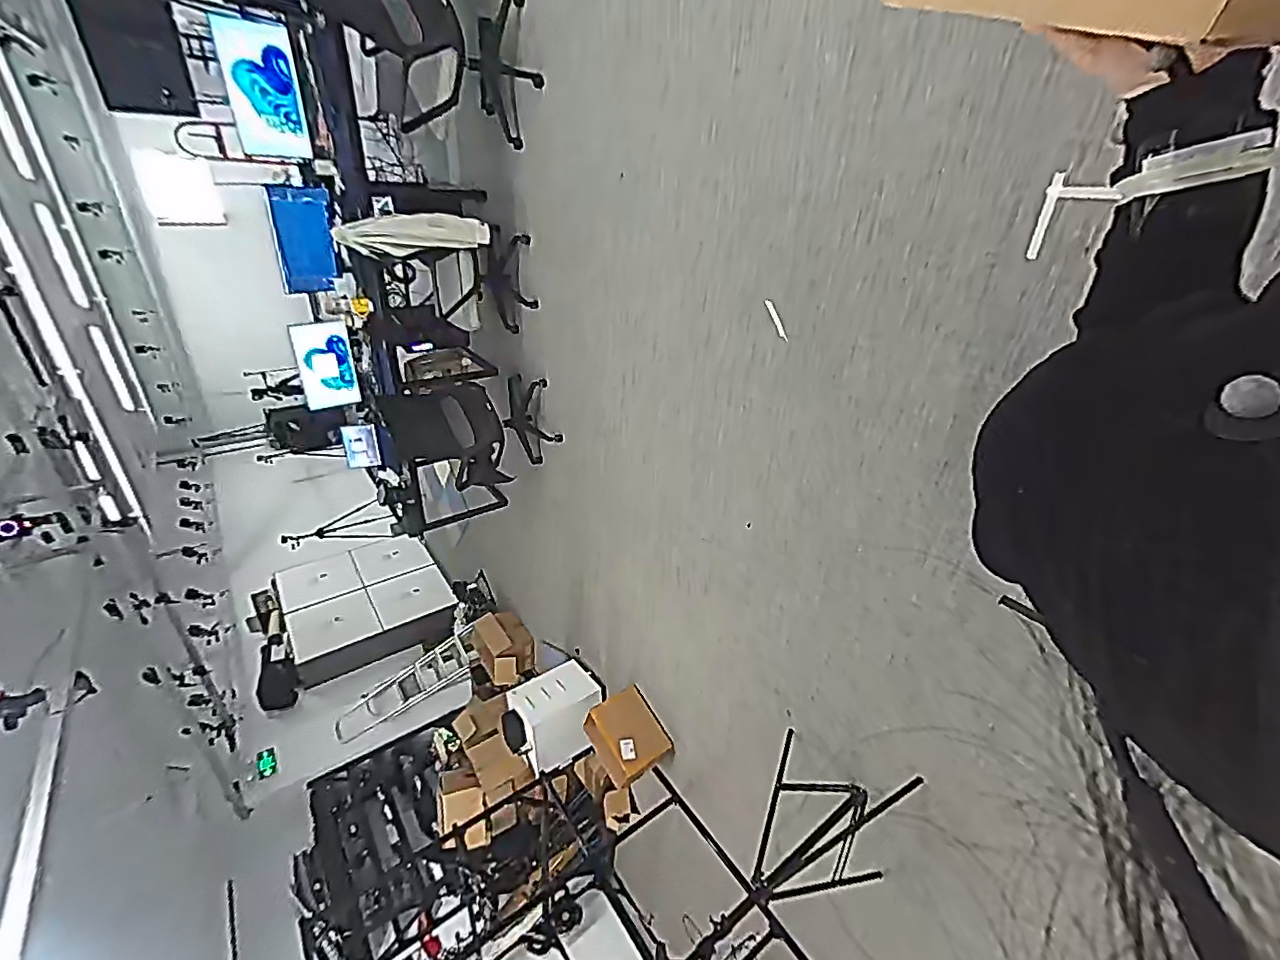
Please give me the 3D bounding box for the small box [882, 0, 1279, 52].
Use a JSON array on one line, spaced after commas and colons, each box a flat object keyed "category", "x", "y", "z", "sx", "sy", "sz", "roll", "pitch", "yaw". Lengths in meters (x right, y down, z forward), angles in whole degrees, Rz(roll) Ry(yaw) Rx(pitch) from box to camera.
[{"category": "small box", "x": 0.261, "y": -0.314, "z": 0.247, "sx": 0.179, "sy": 0.176, "sz": 0.168, "roll": 51, "pitch": 151, "yaw": 37}]
